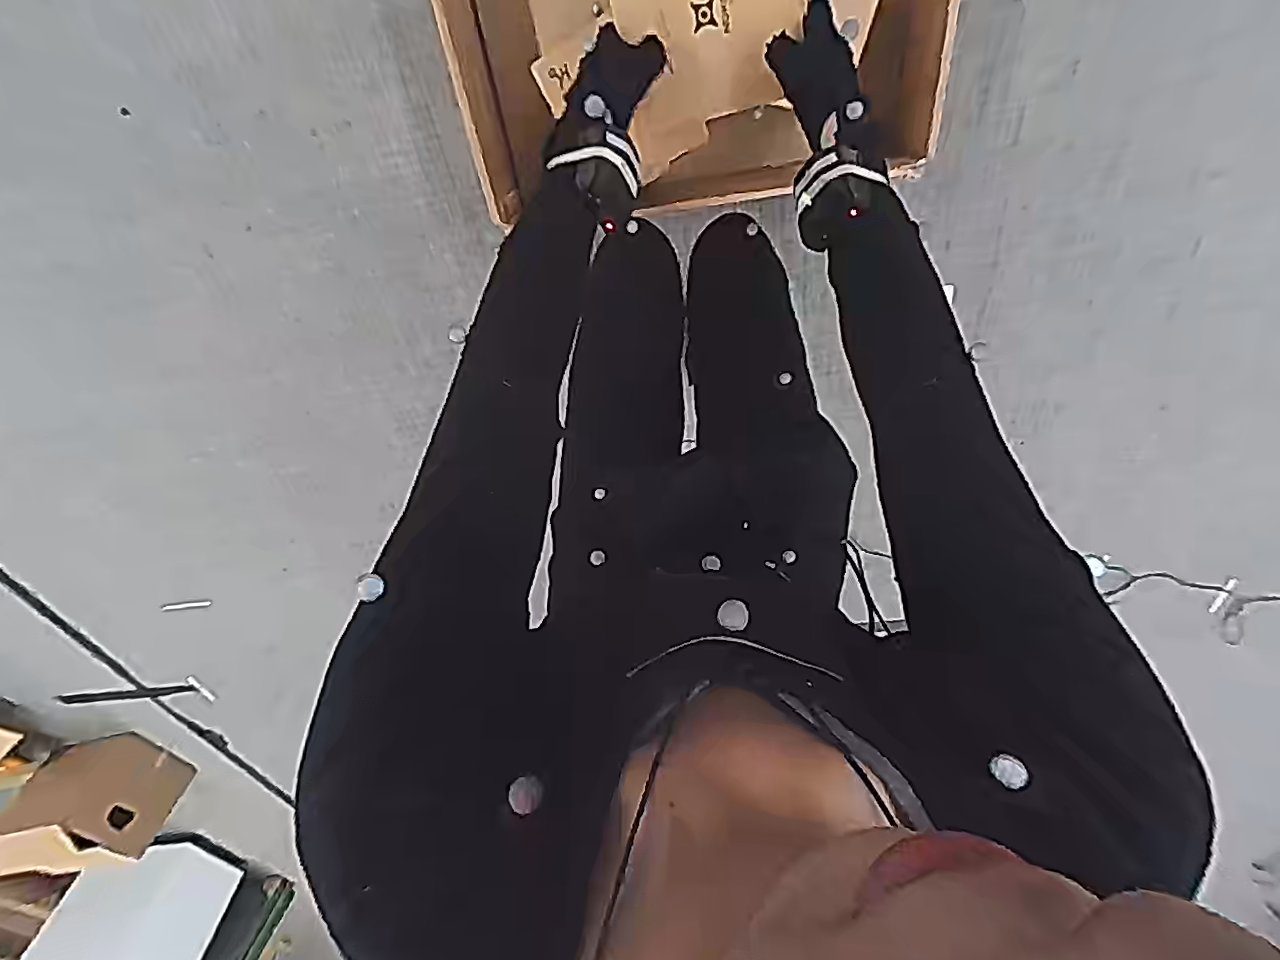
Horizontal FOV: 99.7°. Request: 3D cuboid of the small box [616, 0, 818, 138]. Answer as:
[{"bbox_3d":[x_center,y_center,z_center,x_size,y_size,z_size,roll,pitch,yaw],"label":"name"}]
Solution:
[{"bbox_3d":[0.073,-0.473,0.555,0.179,0.176,0.168,-9,124,11],"label":"small box"}]
